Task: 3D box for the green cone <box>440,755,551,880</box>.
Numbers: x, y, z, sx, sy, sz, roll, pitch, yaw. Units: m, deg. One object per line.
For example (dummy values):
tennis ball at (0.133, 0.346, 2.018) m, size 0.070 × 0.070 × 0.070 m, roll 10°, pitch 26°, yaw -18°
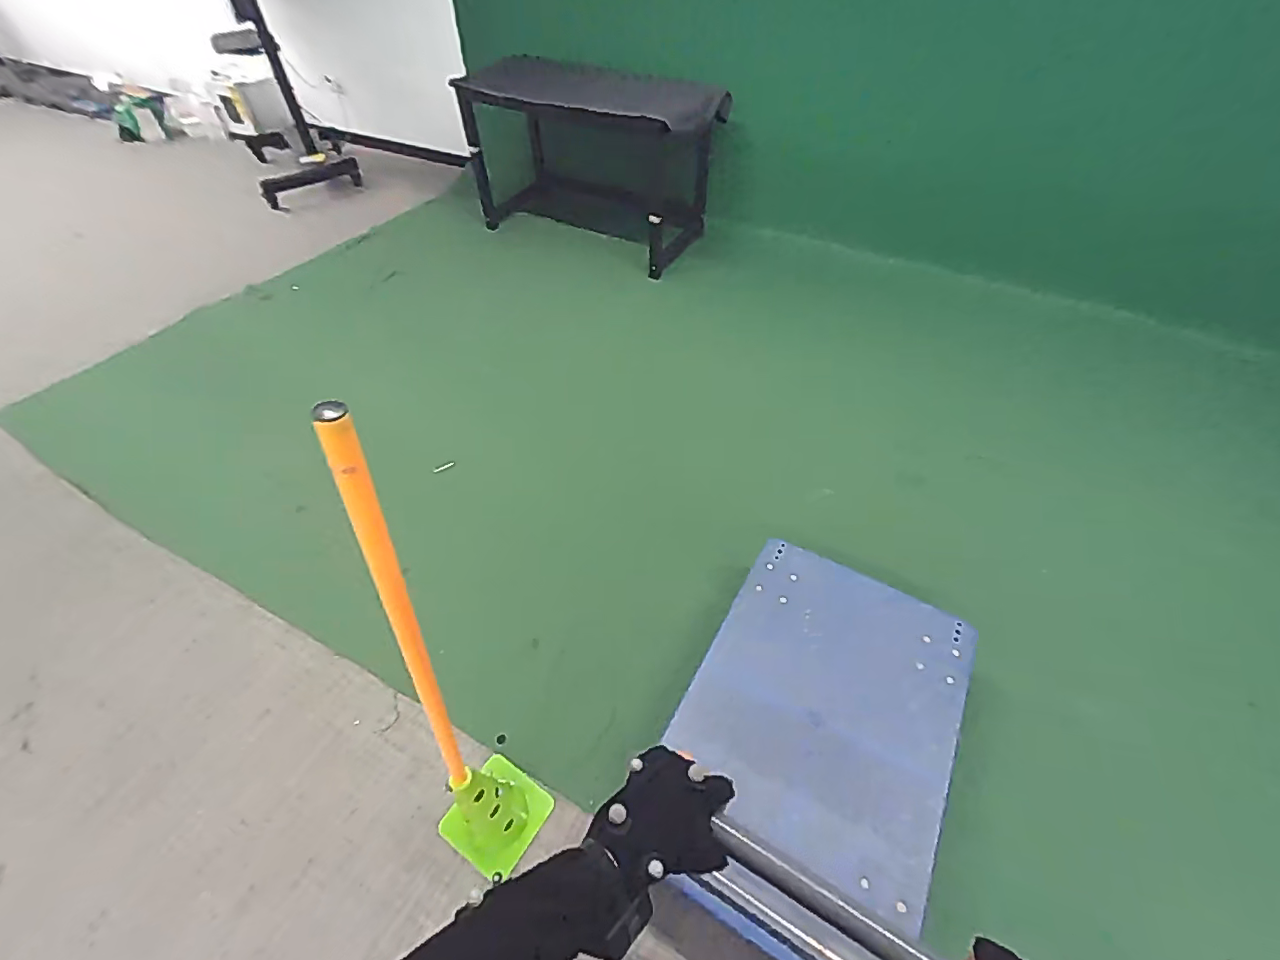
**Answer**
green cone at (-0.336, 0.665, 1.139) m, size 0.202 × 0.368 × 0.200 m, roll 26°, pitch 52°, yaw 22°
